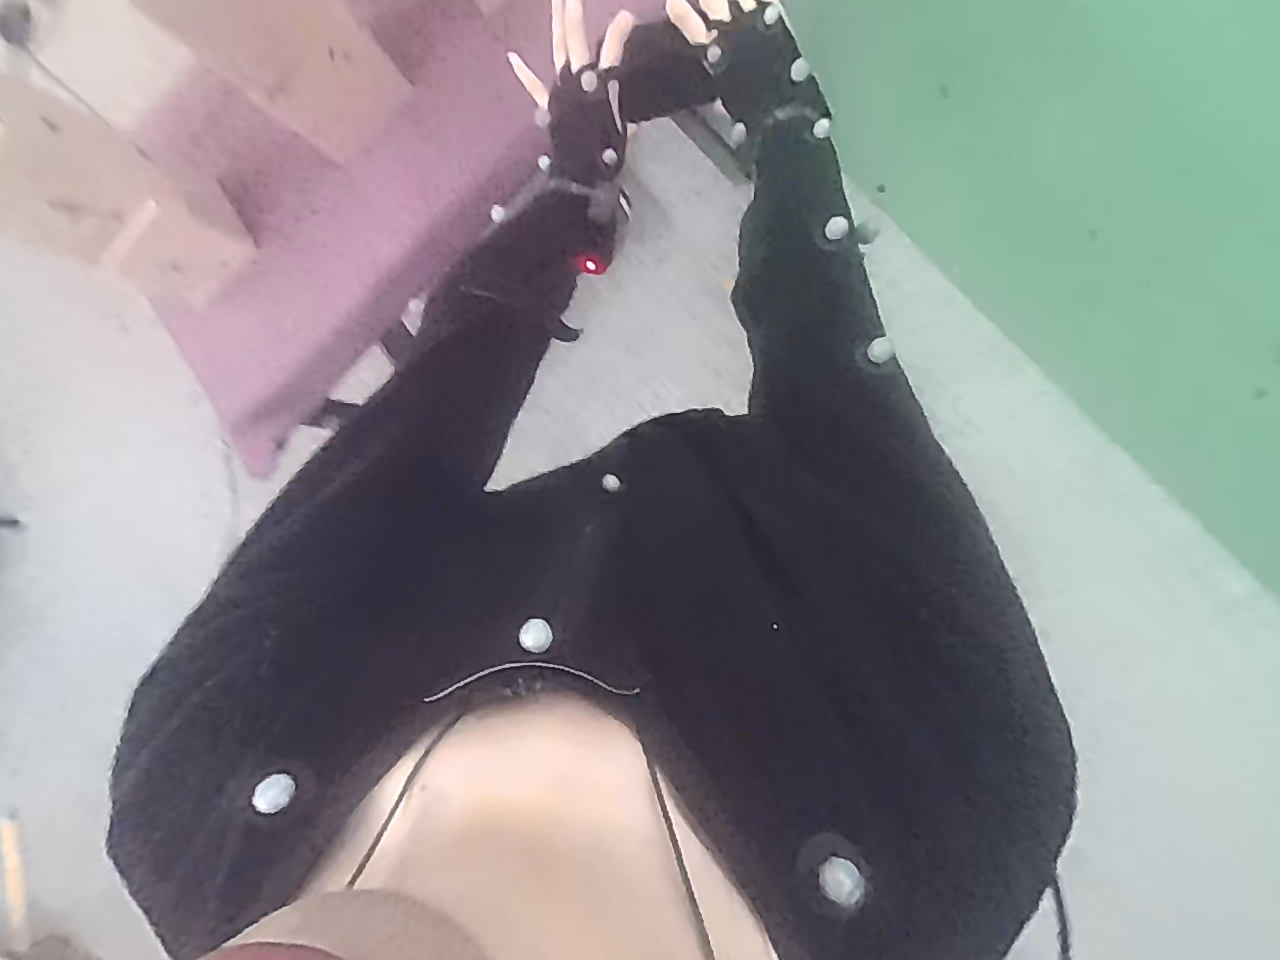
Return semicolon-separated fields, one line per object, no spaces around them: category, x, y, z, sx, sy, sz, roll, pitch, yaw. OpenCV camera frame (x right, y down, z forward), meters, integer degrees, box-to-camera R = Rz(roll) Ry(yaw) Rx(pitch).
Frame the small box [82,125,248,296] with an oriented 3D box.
small box;-0.828;-0.442;0.927;0.168;0.176;0.179;-37;81;12

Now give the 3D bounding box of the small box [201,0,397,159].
small box;-0.513;-0.658;0.843;0.179;0.176;0.168;-38;81;12
